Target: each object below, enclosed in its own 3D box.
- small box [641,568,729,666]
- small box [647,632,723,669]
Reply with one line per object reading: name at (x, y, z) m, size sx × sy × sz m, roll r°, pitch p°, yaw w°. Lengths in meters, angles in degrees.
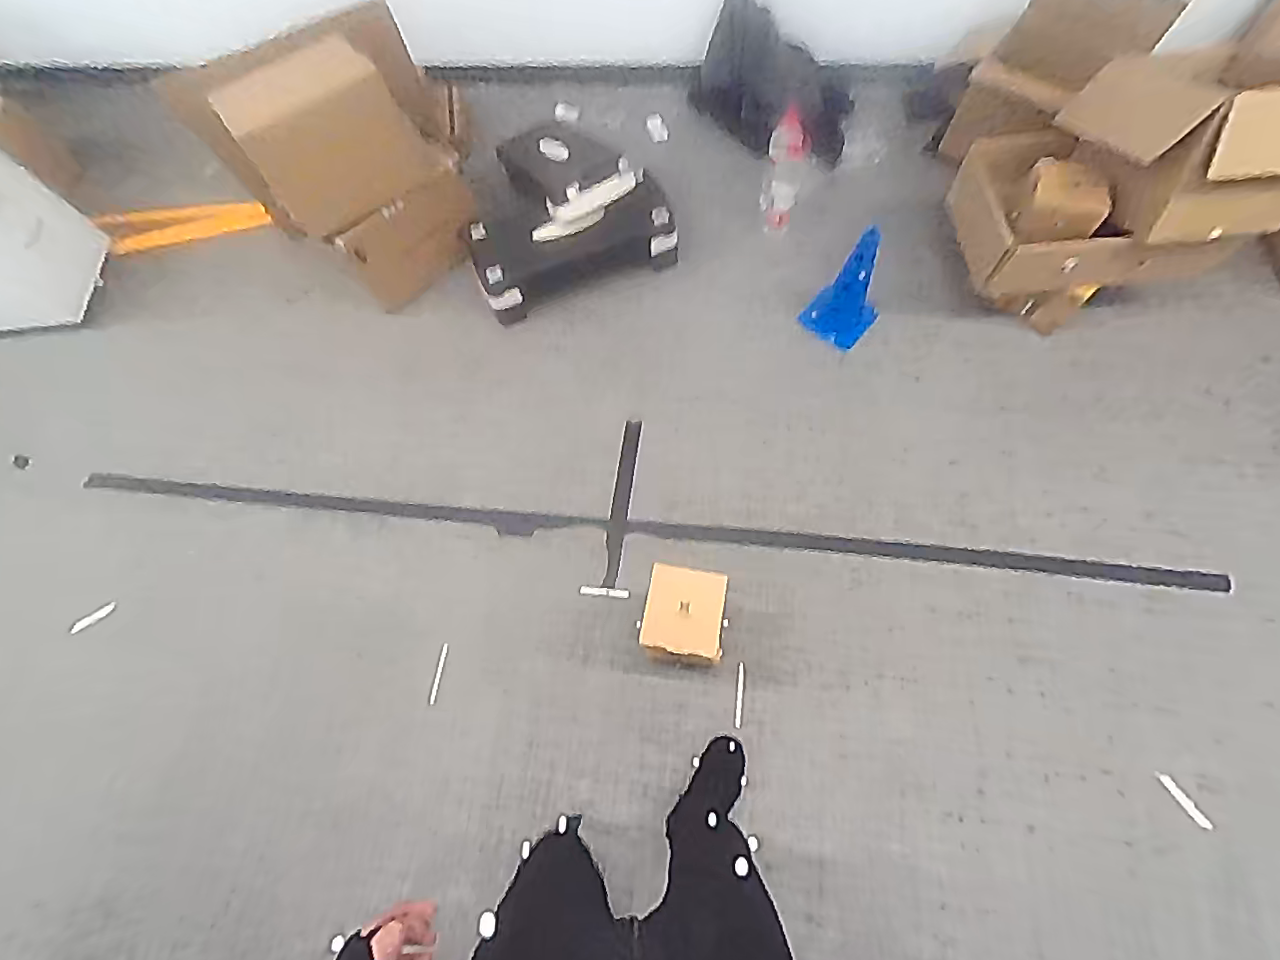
small box at (0.103, 0.316, 1.228) m, size 0.168 × 0.176 × 0.179 m, roll 9°, pitch 71°, yaw 8°
small box at (0.118, 0.386, 1.374) m, size 0.179 × 0.176 × 0.168 m, roll 4°, pitch 69°, yaw 7°
